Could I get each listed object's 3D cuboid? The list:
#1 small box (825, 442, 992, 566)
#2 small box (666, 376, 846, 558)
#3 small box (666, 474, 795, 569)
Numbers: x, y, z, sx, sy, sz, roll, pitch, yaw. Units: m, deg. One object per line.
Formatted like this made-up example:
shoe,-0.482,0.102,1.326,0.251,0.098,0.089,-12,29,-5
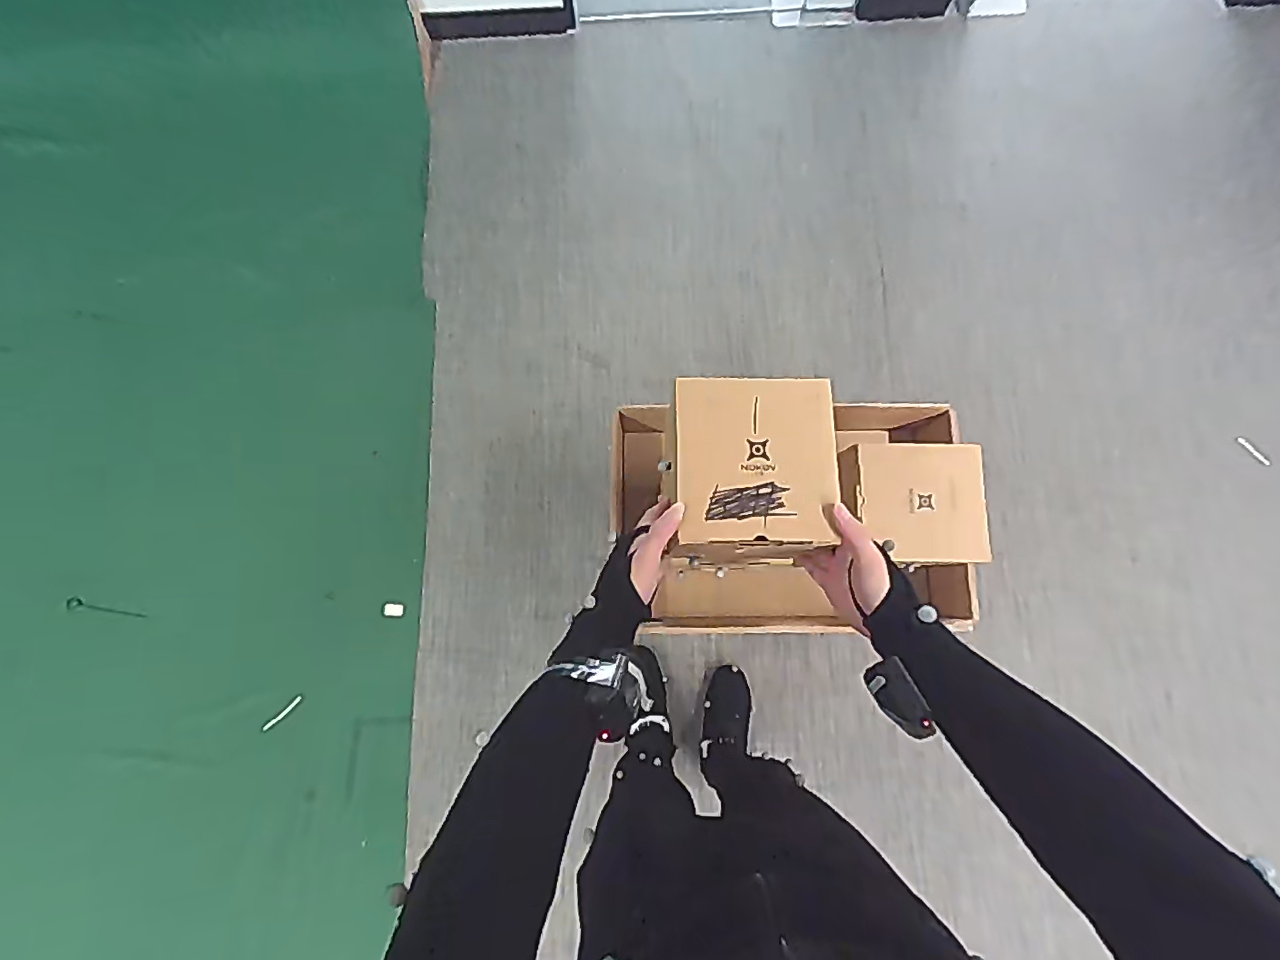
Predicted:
small box,0.388,0.043,0.816,0.179,0.176,0.168,2,80,-1
small box,0.119,-0.004,0.620,0.168,0.176,0.179,1,76,-2
small box,0.126,0.042,0.813,0.168,0.176,0.179,0,79,0
